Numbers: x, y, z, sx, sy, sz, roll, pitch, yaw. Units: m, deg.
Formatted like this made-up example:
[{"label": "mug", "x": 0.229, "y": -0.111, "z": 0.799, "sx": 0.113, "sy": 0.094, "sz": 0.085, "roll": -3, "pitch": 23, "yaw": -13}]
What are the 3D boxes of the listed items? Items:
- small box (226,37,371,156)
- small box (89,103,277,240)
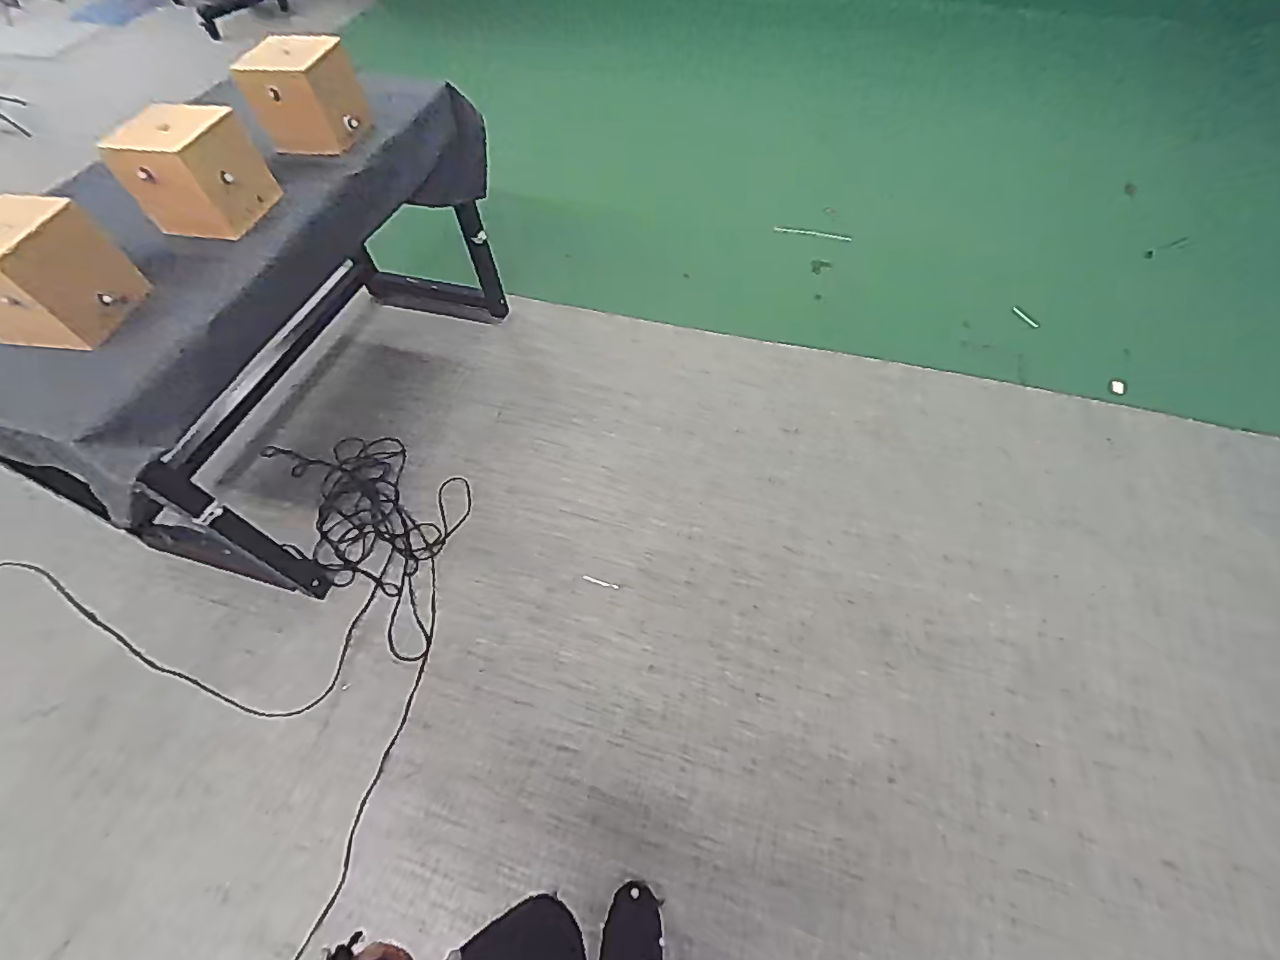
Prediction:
[{"label": "small box", "x": -0.740, "y": -0.842, "z": 1.192, "sx": 0.179, "sy": 0.176, "sz": 0.168, "roll": 7, "pitch": 59, "yaw": 7}, {"label": "small box", "x": -0.849, "y": -0.582, "z": 1.029, "sx": 0.179, "sy": 0.176, "sz": 0.168, "roll": 8, "pitch": 58, "yaw": 8}]
